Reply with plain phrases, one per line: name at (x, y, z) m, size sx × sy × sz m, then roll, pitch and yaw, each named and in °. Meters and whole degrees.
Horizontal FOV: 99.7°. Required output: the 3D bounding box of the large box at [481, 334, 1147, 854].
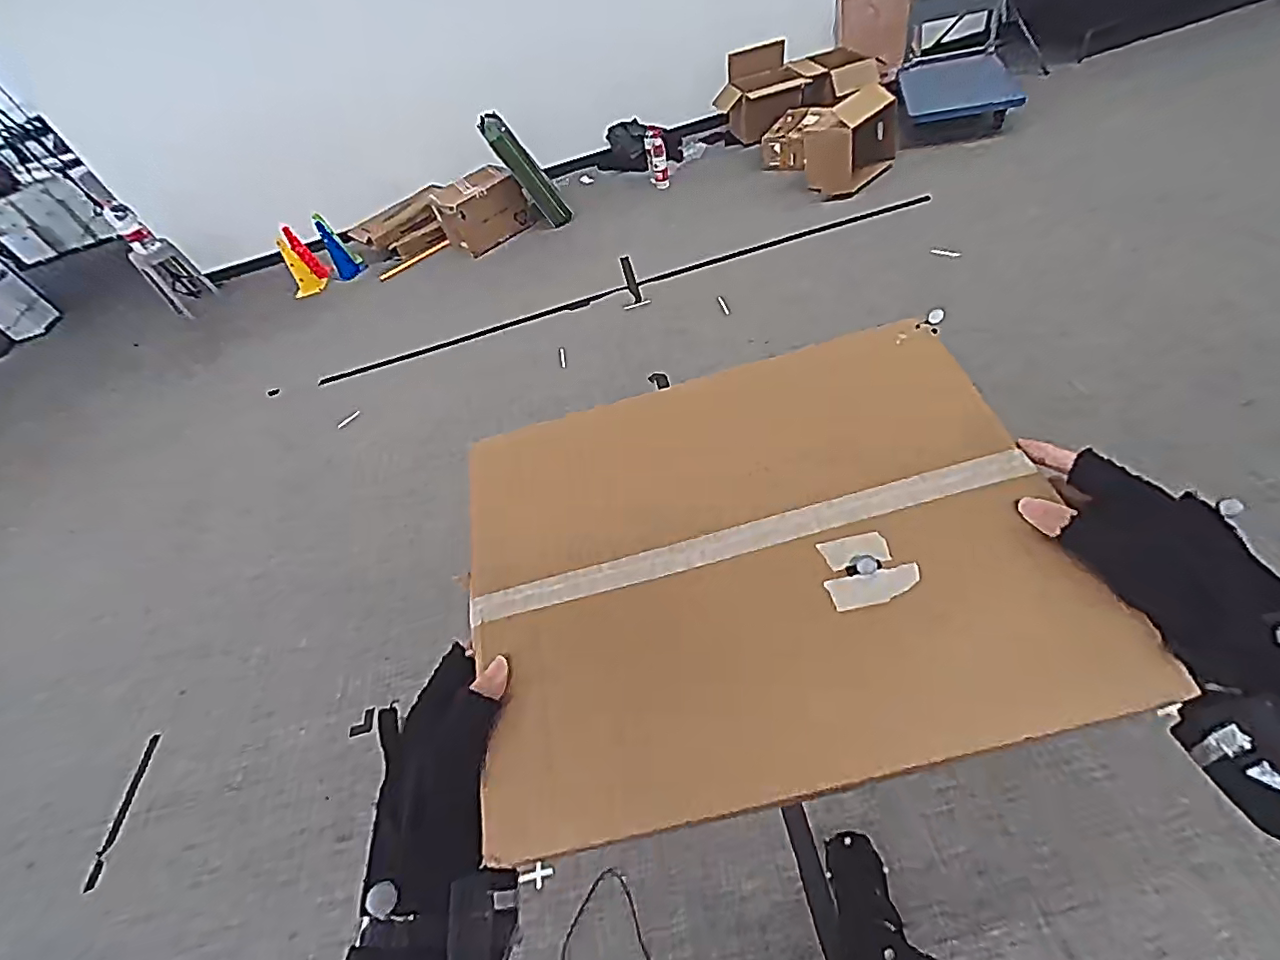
large box at (0.103, 0.126, 0.526) m, size 0.408 × 0.320 × 0.320 m, roll -16°, pitch 58°, yaw 2°
